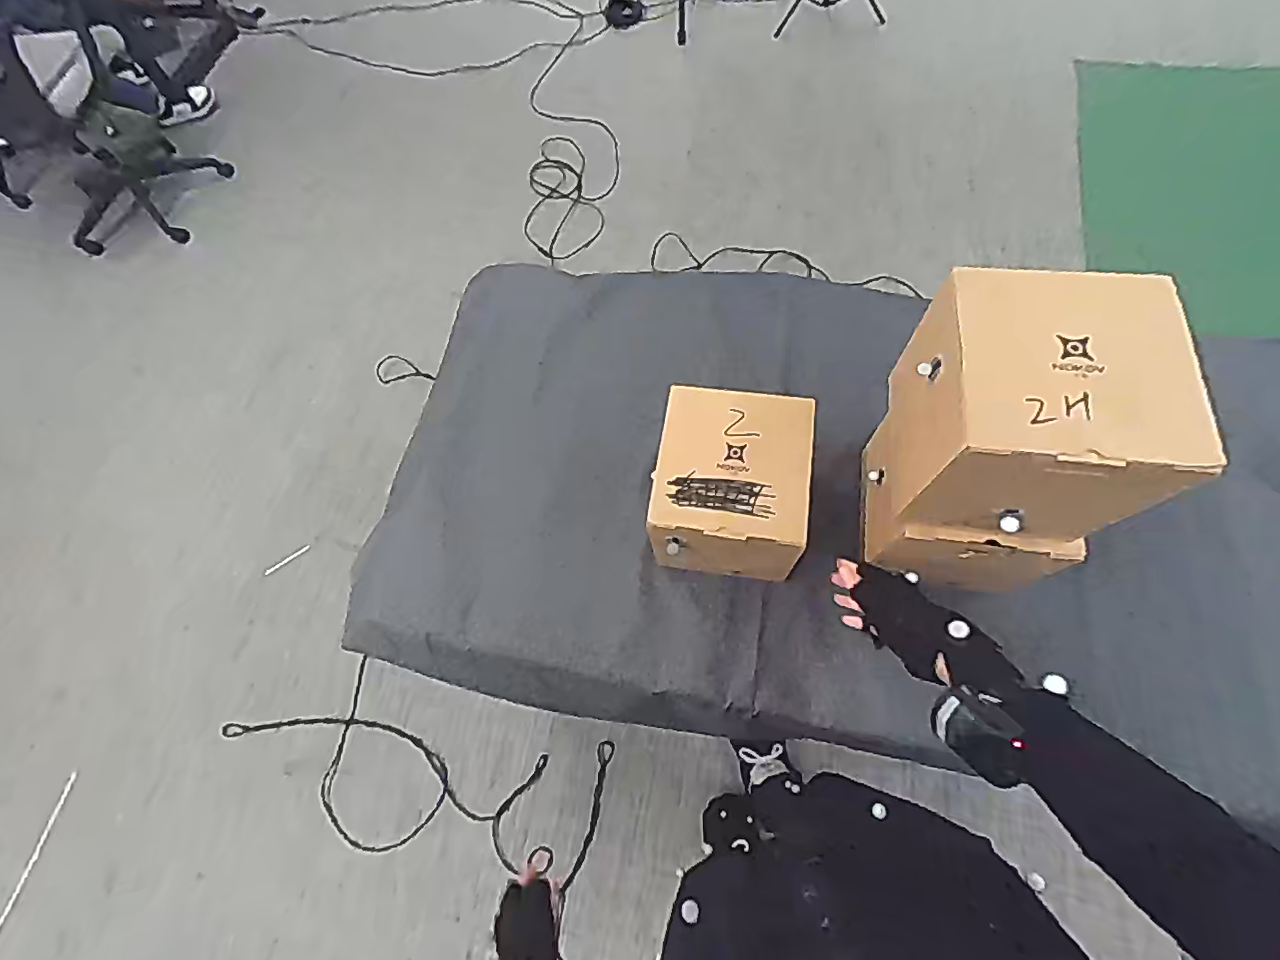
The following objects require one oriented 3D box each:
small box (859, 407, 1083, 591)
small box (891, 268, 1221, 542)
[{"bbox_3d":[0.360,0.020,0.623,0.168,0.176,0.179,7,67,9],"label":"small box"},{"bbox_3d":[0.333,-0.058,0.481,0.168,0.176,0.179,6,68,9],"label":"small box"}]
